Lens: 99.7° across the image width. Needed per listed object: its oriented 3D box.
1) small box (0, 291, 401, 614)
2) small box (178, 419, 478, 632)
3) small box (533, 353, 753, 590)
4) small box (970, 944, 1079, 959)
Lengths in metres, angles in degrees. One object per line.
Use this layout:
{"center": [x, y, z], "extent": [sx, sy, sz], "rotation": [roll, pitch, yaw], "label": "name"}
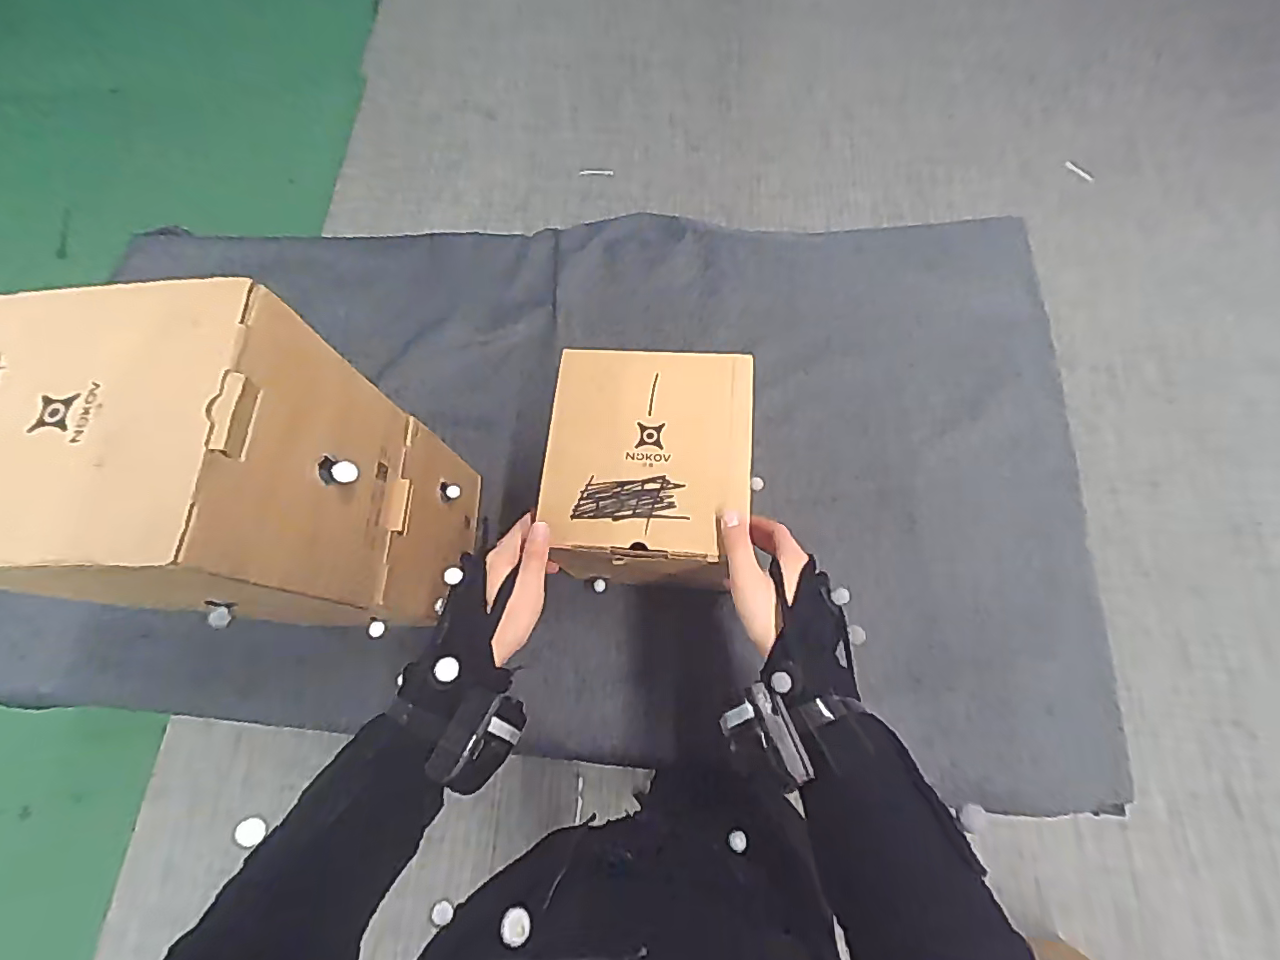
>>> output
{"center": [-0.290, -0.003, 0.365], "extent": [0.179, 0.176, 0.168], "rotation": [-1, 70, 5], "label": "small box"}
{"center": [-0.271, 0.053, 0.519], "extent": [0.179, 0.176, 0.168], "rotation": [-2, 69, 5], "label": "small box"}
{"center": [0.013, 0.003, 0.508], "extent": [0.168, 0.176, 0.179], "rotation": [4, 70, 6], "label": "small box"}
{"center": [0.690, 0.907, 0.895], "extent": [0.179, 0.176, 0.168], "rotation": [-3, 70, 5], "label": "small box"}
